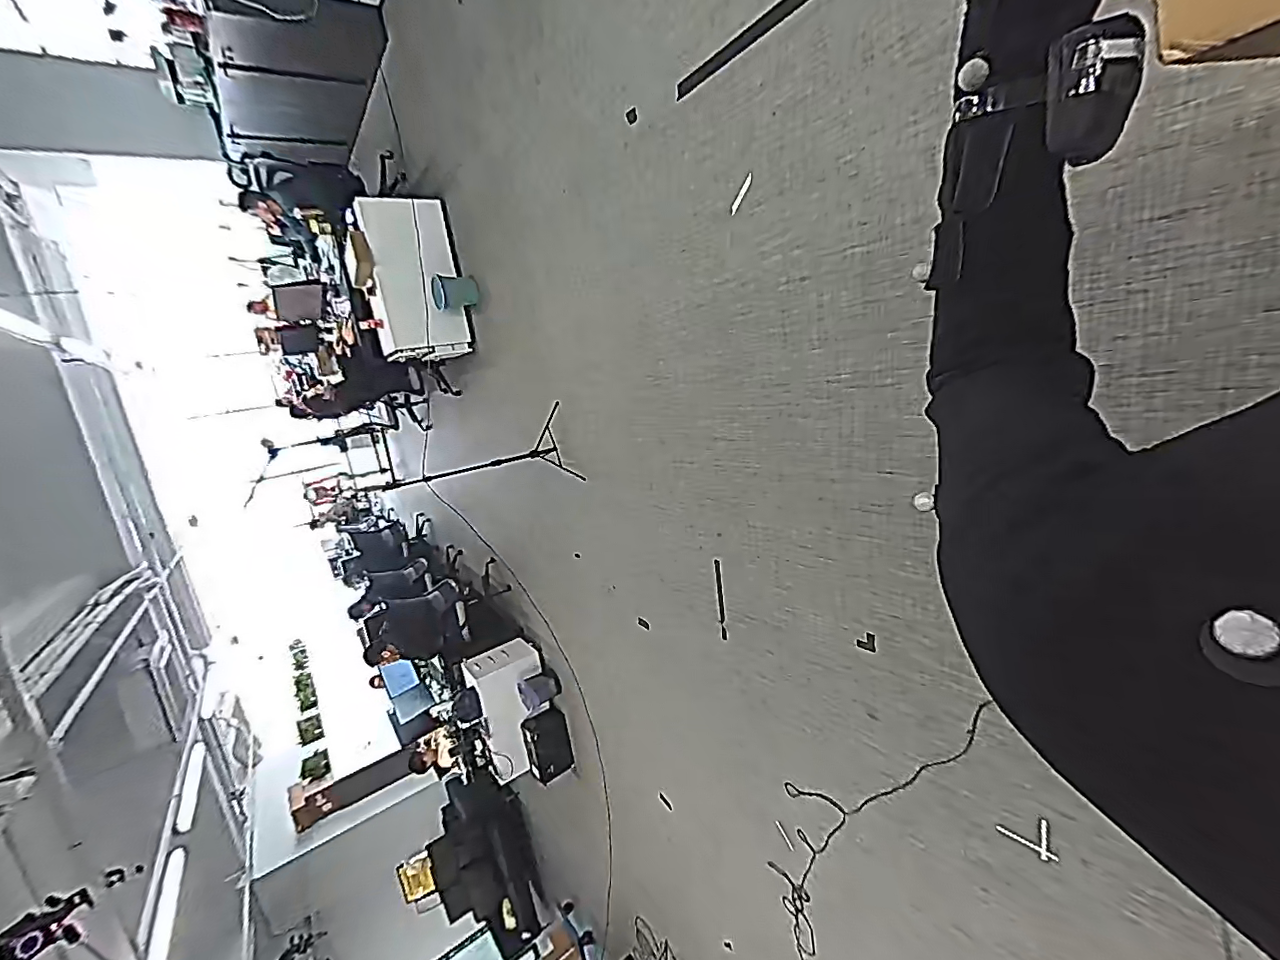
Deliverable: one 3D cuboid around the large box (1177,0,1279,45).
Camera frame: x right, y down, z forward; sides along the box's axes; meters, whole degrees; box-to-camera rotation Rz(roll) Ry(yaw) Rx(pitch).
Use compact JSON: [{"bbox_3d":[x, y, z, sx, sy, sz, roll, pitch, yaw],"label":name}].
[{"bbox_3d":[0.456,-0.419,0.158,0.408,0.320,0.320,4,117,57],"label":"large box"}]
